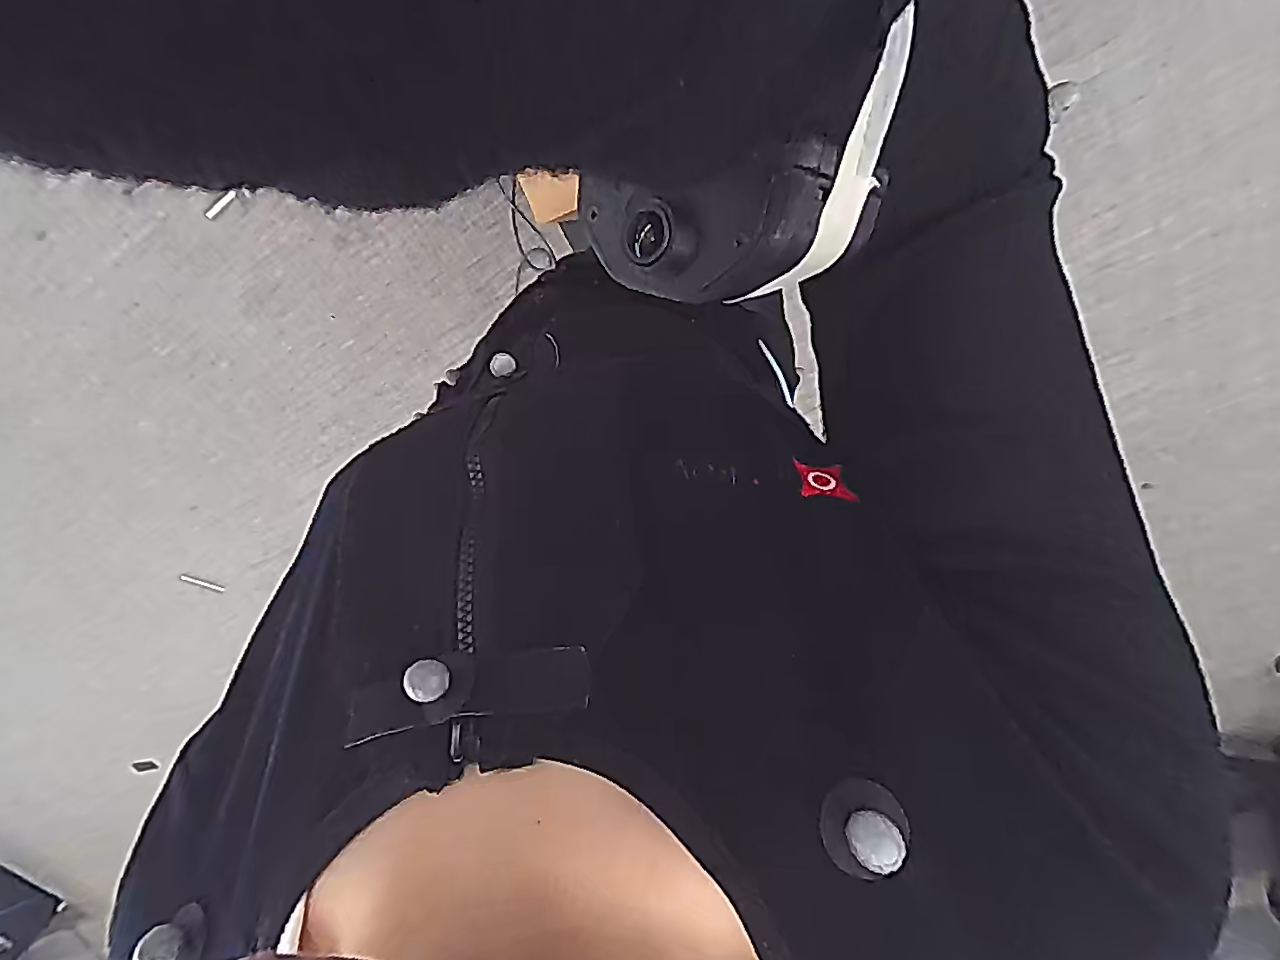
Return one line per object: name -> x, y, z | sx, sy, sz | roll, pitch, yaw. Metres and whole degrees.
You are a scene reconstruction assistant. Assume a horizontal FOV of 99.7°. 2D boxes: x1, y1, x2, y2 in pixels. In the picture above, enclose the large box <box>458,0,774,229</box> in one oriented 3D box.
large box -> -0.023, -0.678, 0.941 | 0.408, 0.320, 0.320 | -18, 114, 14
